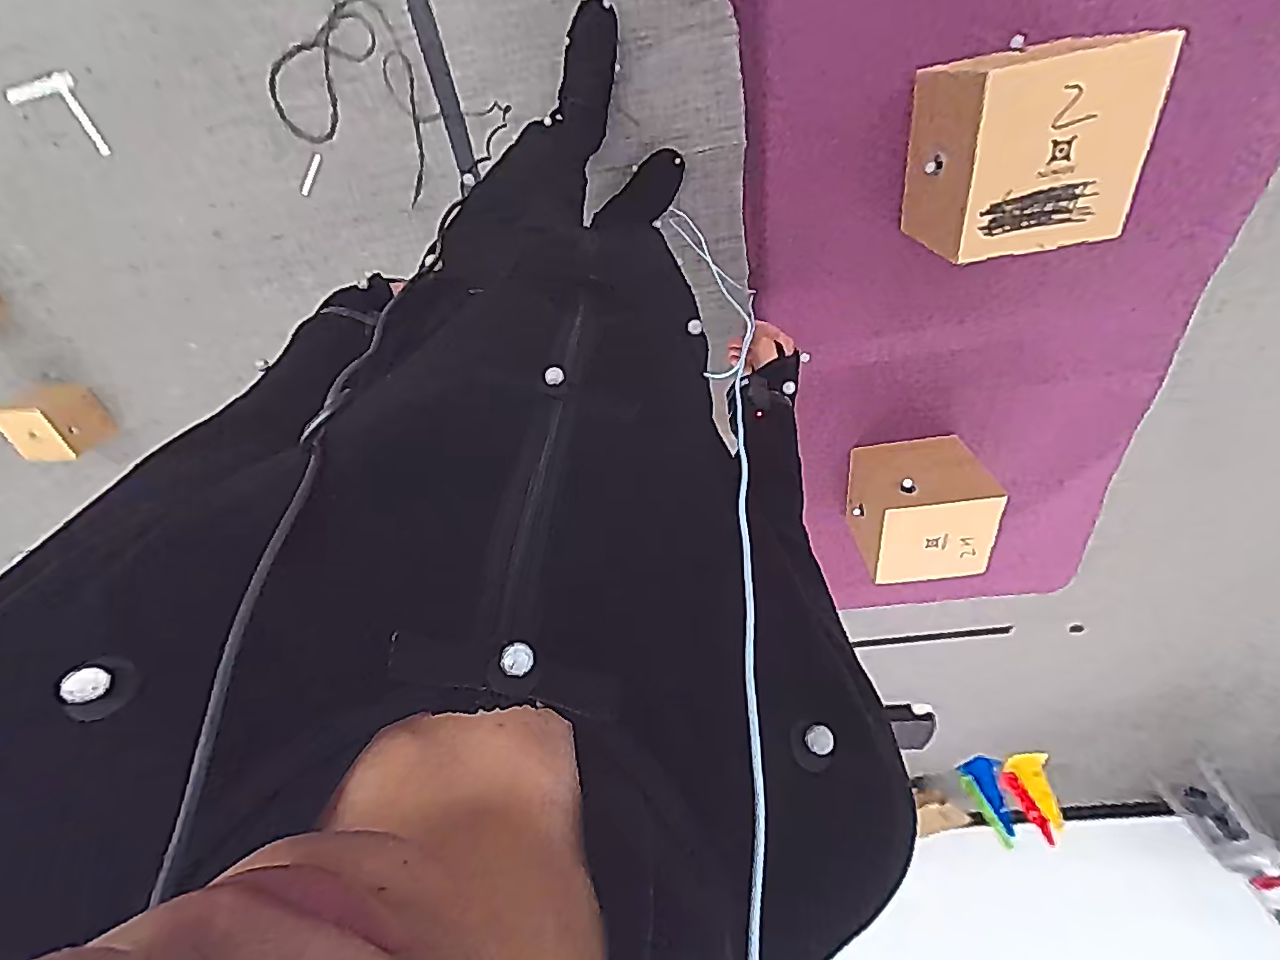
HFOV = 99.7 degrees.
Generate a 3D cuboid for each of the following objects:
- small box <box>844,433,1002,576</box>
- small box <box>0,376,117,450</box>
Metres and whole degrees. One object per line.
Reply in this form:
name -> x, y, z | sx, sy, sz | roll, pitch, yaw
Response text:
small box -> 0.457, 0.038, 0.911 | 0.179, 0.176, 0.168 | -7, 127, 5
small box -> -1.801, -0.211, 1.668 | 0.168, 0.176, 0.179 | -1, 129, 1
